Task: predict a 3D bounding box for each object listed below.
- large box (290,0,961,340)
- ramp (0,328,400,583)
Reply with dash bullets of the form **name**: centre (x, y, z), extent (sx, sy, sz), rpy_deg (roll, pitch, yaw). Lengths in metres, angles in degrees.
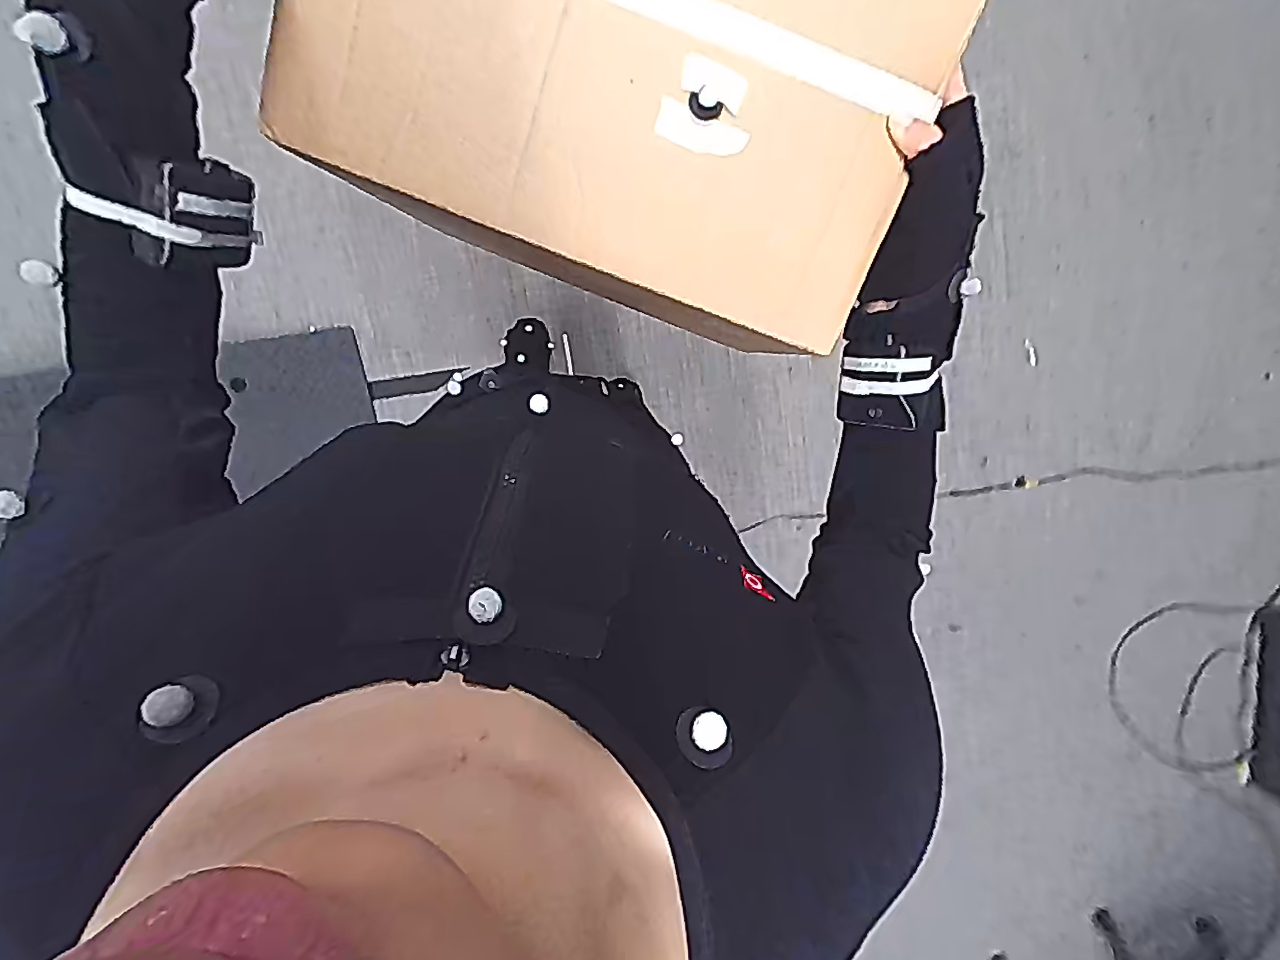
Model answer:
- **large box**: centre (-0.004, -0.341, 0.491), extent (0.408, 0.320, 0.320), rpy_deg (19, 104, -4)
- **ramp**: centre (-1.180, -0.070, 1.372), extent (0.991, 0.206, 0.509), rpy_deg (-11, 100, 1)
